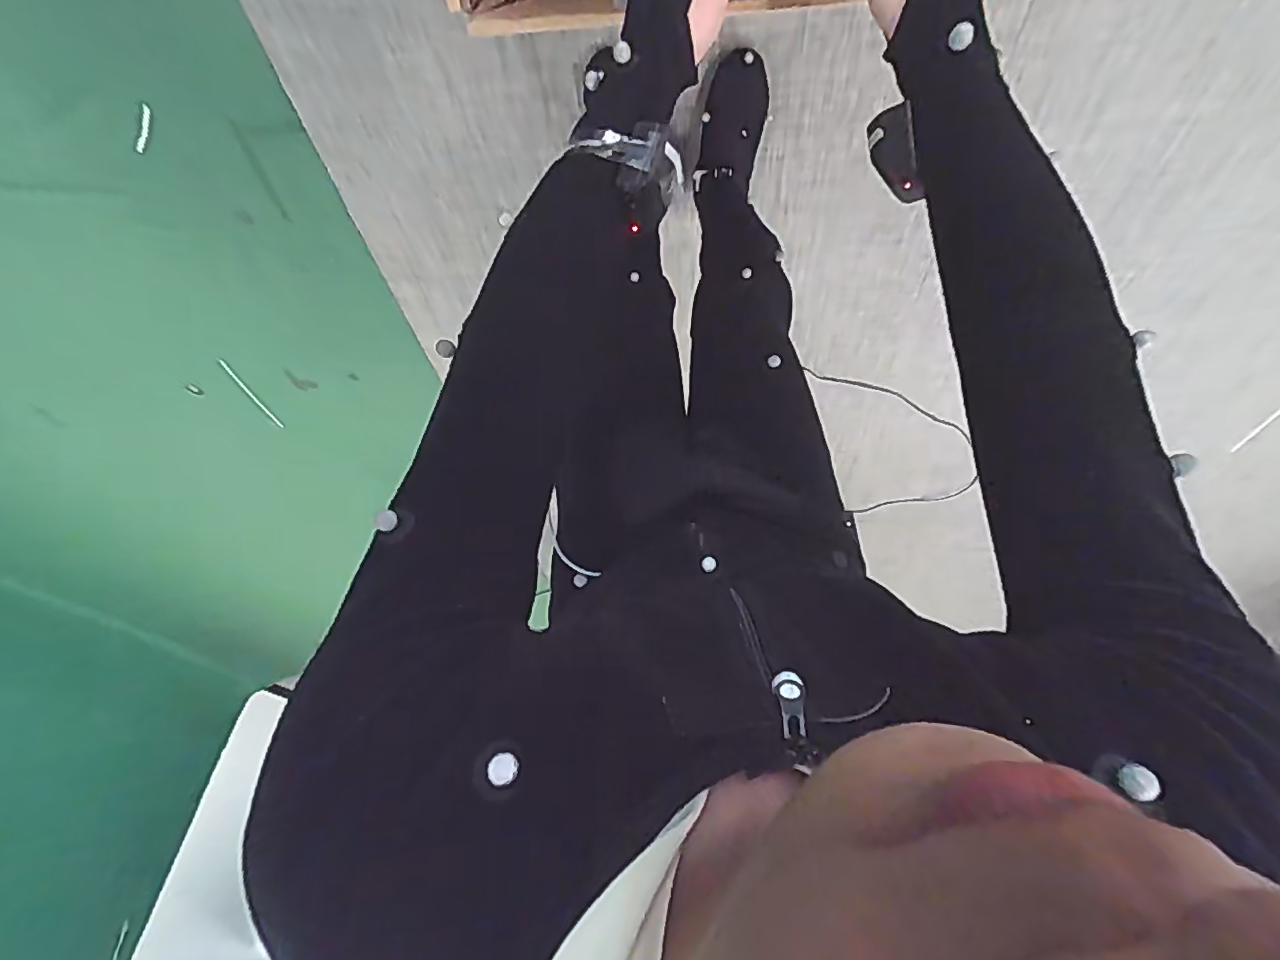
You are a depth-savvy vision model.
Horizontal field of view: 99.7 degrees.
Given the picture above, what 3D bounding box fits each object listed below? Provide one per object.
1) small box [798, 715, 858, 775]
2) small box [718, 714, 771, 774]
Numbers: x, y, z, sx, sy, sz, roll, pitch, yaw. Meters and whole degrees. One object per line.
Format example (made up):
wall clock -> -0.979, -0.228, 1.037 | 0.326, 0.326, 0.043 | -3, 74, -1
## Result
small box -> 0.650, 0.928, 1.892 | 0.168, 0.176, 0.179 | -3, 145, 10
small box -> 0.372, 0.945, 1.940 | 0.179, 0.176, 0.168 | -3, 144, 10
